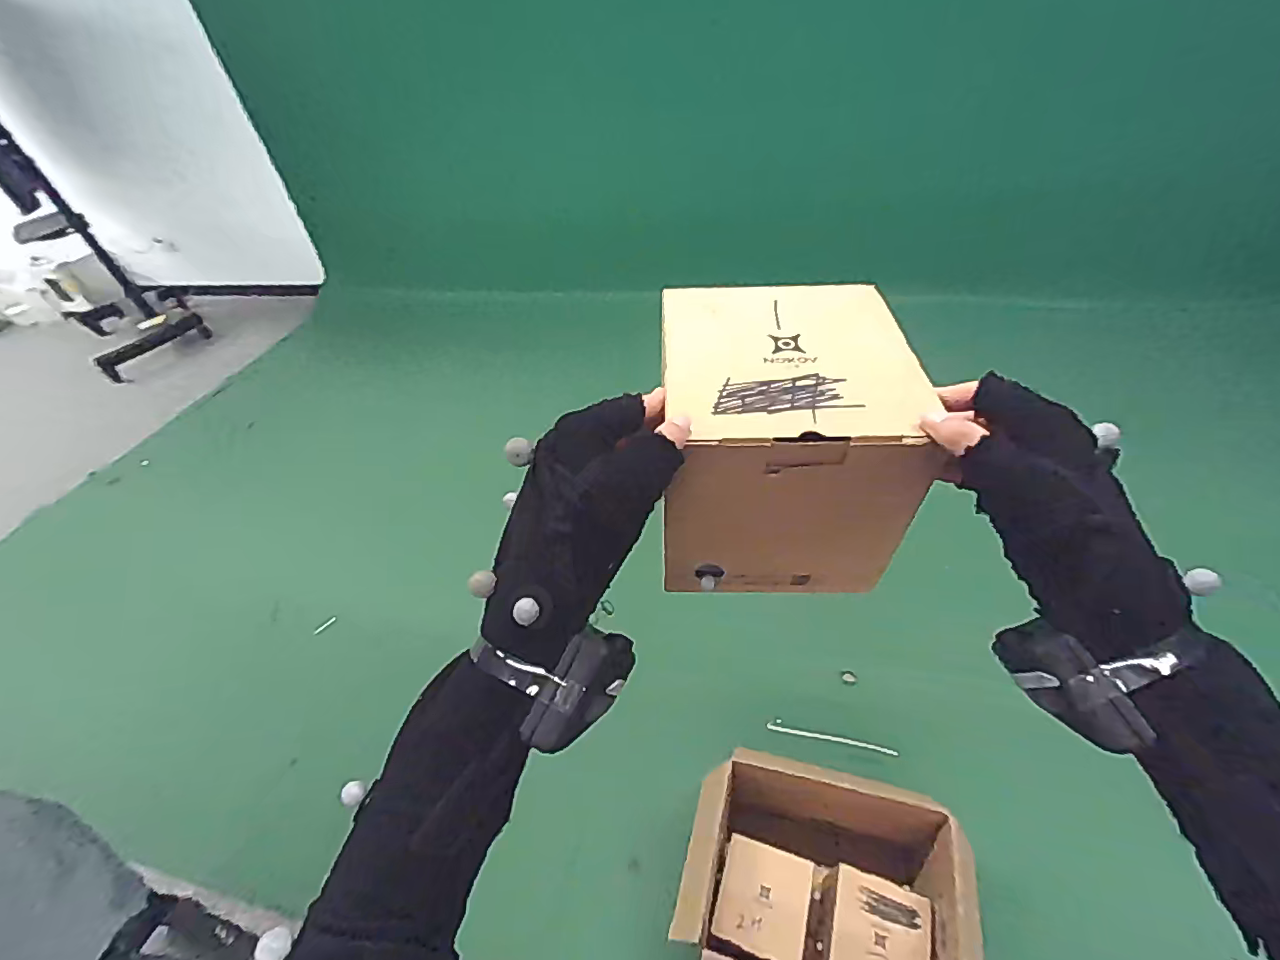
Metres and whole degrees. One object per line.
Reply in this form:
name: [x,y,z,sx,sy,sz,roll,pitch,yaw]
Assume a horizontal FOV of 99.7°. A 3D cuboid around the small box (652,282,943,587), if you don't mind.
small box: [0.095,-0.030,0.418,0.168,0.176,0.179,-1,47,2]
